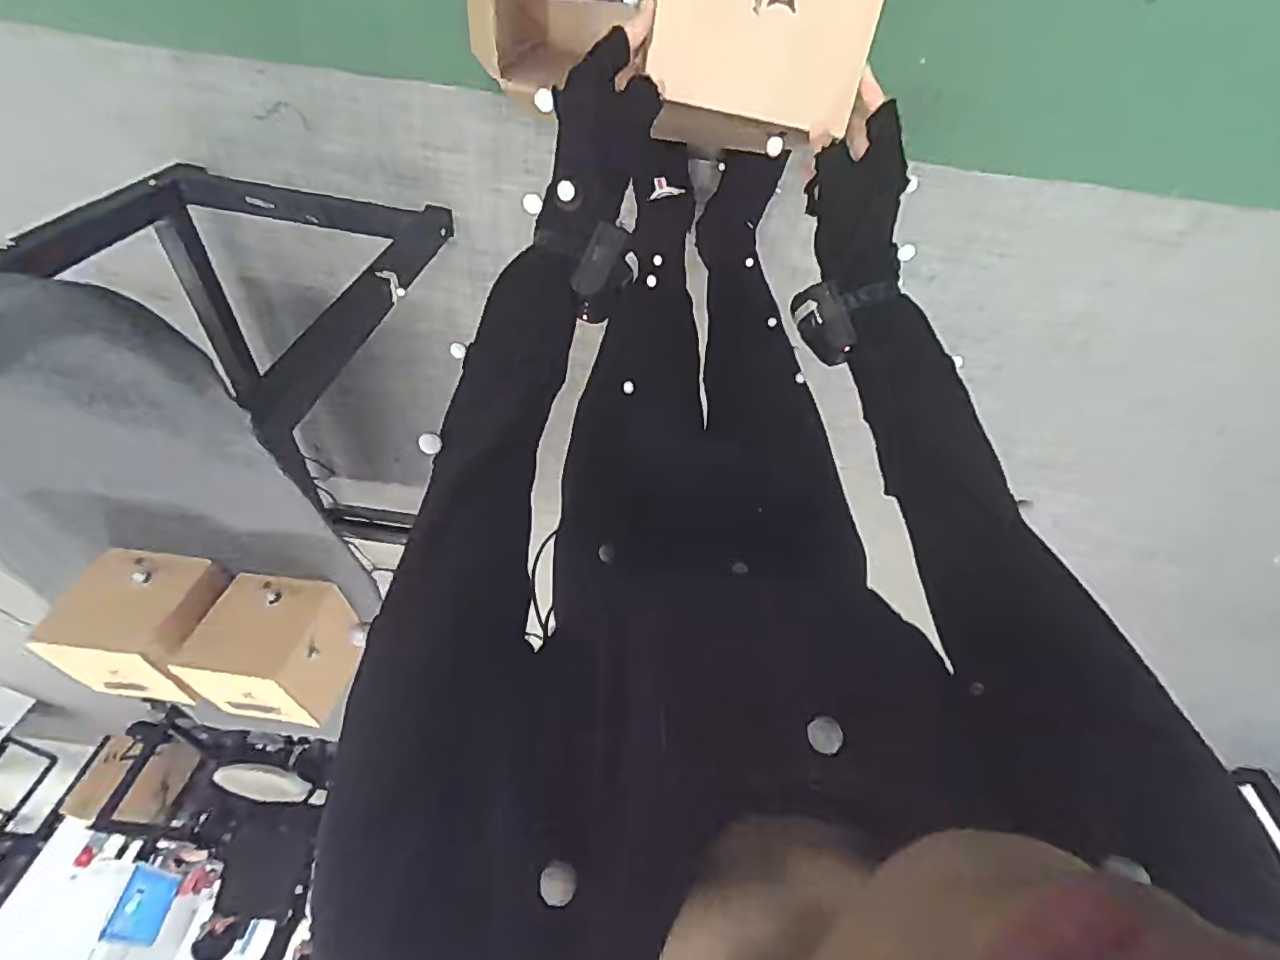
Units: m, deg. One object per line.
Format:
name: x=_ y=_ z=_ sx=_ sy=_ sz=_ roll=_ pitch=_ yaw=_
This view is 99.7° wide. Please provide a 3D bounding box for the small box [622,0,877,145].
small box: x=0.087 y=-0.406 z=0.475 sx=0.179 sy=0.176 sz=0.168 roll=6 pitch=118 yaw=-10
